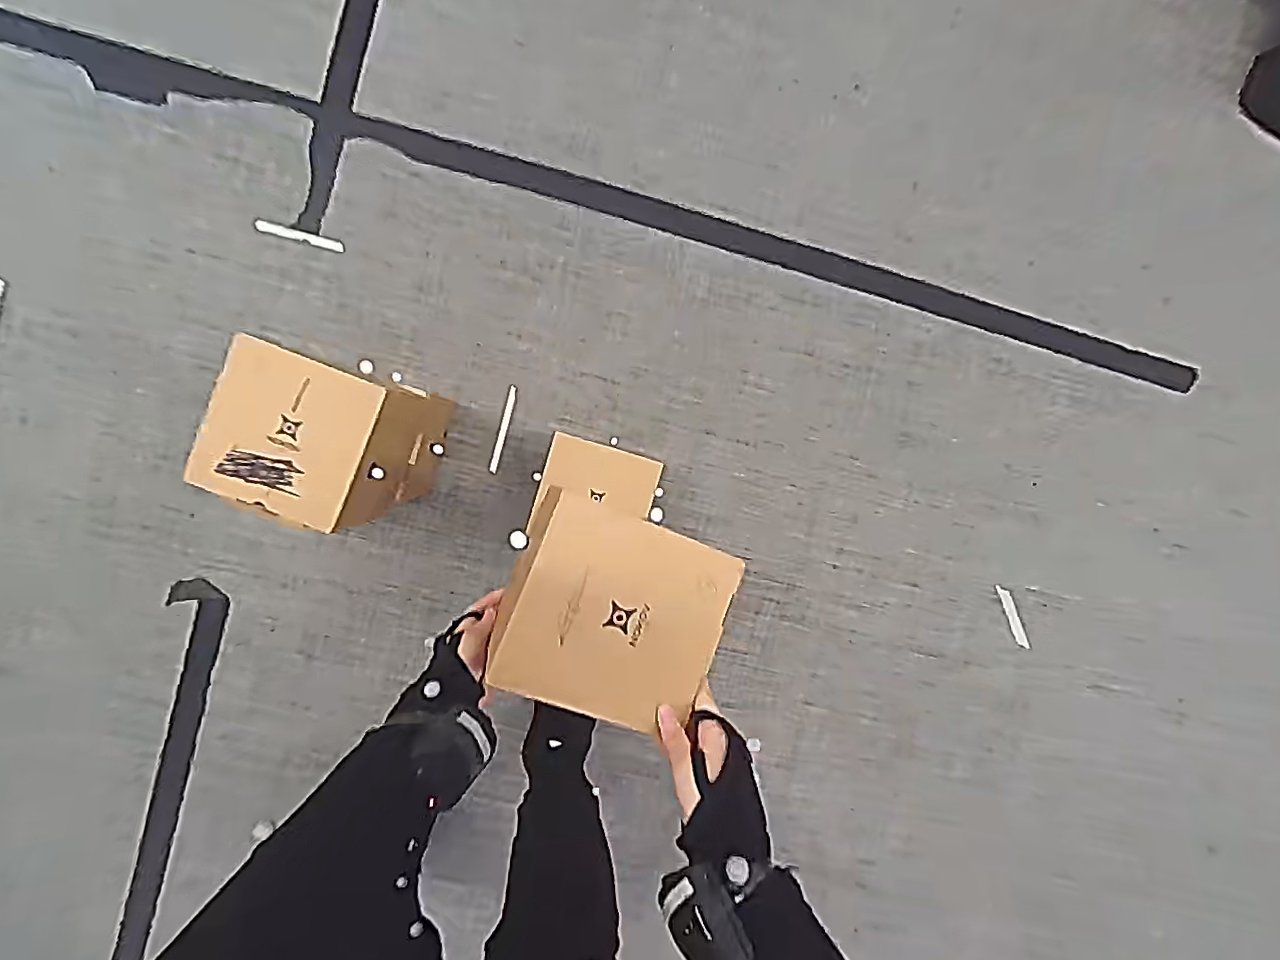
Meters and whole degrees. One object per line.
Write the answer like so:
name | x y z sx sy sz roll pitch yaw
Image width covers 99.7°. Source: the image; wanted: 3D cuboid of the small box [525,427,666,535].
small box | -0.071 0.024 0.856 0.168 0.176 0.179 18 93 -6

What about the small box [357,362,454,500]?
small box | -0.401 -0.082 0.820 0.179 0.176 0.168 18 93 -7

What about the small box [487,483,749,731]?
small box | -0.031 0.106 0.523 0.179 0.176 0.168 24 85 -13

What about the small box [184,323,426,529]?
small box | -0.384 -0.061 0.657 0.168 0.176 0.179 22 92 -7
